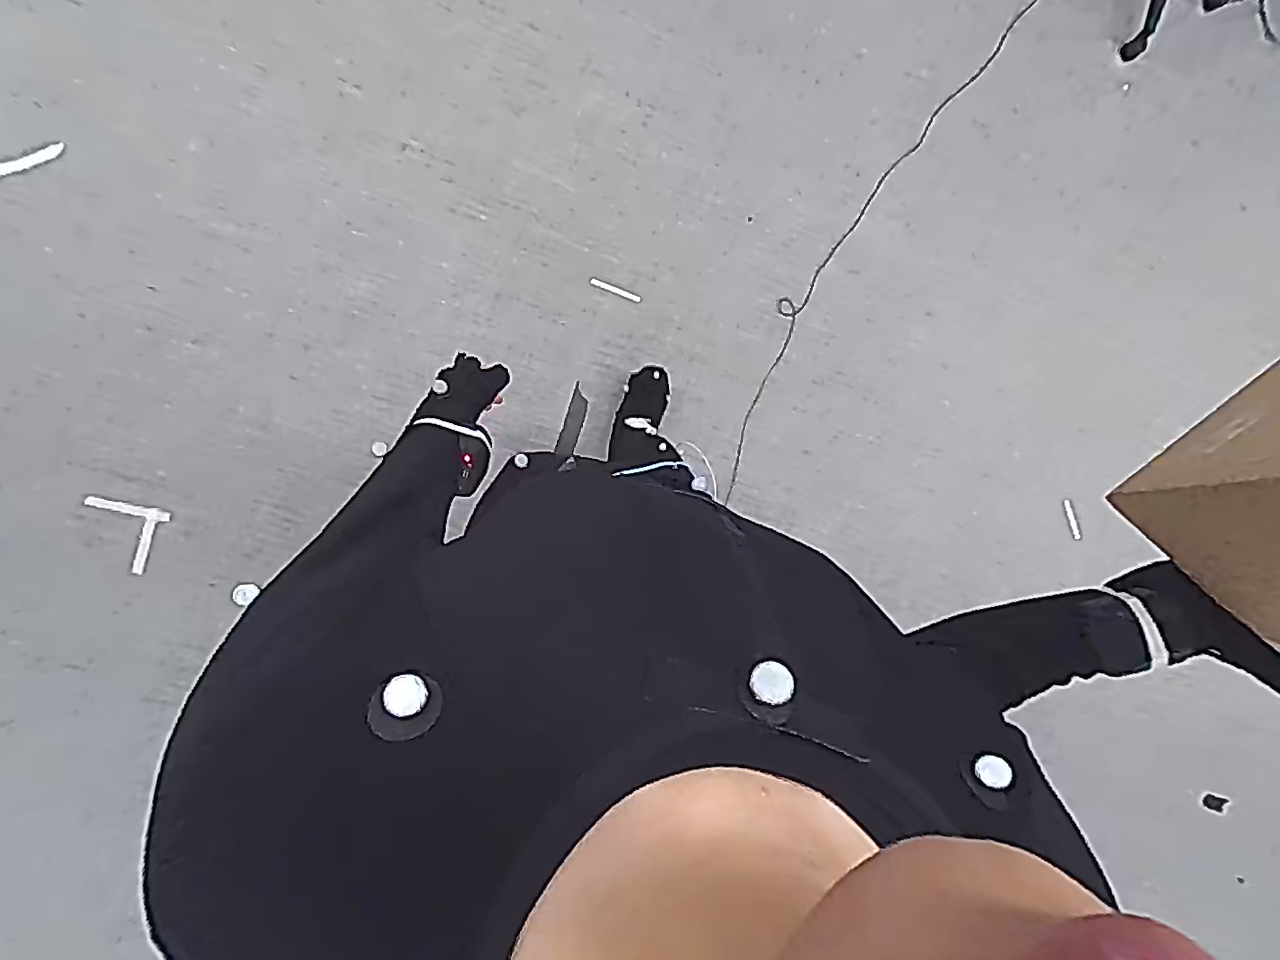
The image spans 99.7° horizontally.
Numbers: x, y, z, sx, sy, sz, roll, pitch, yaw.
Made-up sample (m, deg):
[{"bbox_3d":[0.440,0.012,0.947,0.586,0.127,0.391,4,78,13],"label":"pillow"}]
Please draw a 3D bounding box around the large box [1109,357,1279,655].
[{"bbox_3d":[0.546,0.010,0.216,0.320,0.408,0.320,-42,78,12],"label":"large box"}]
